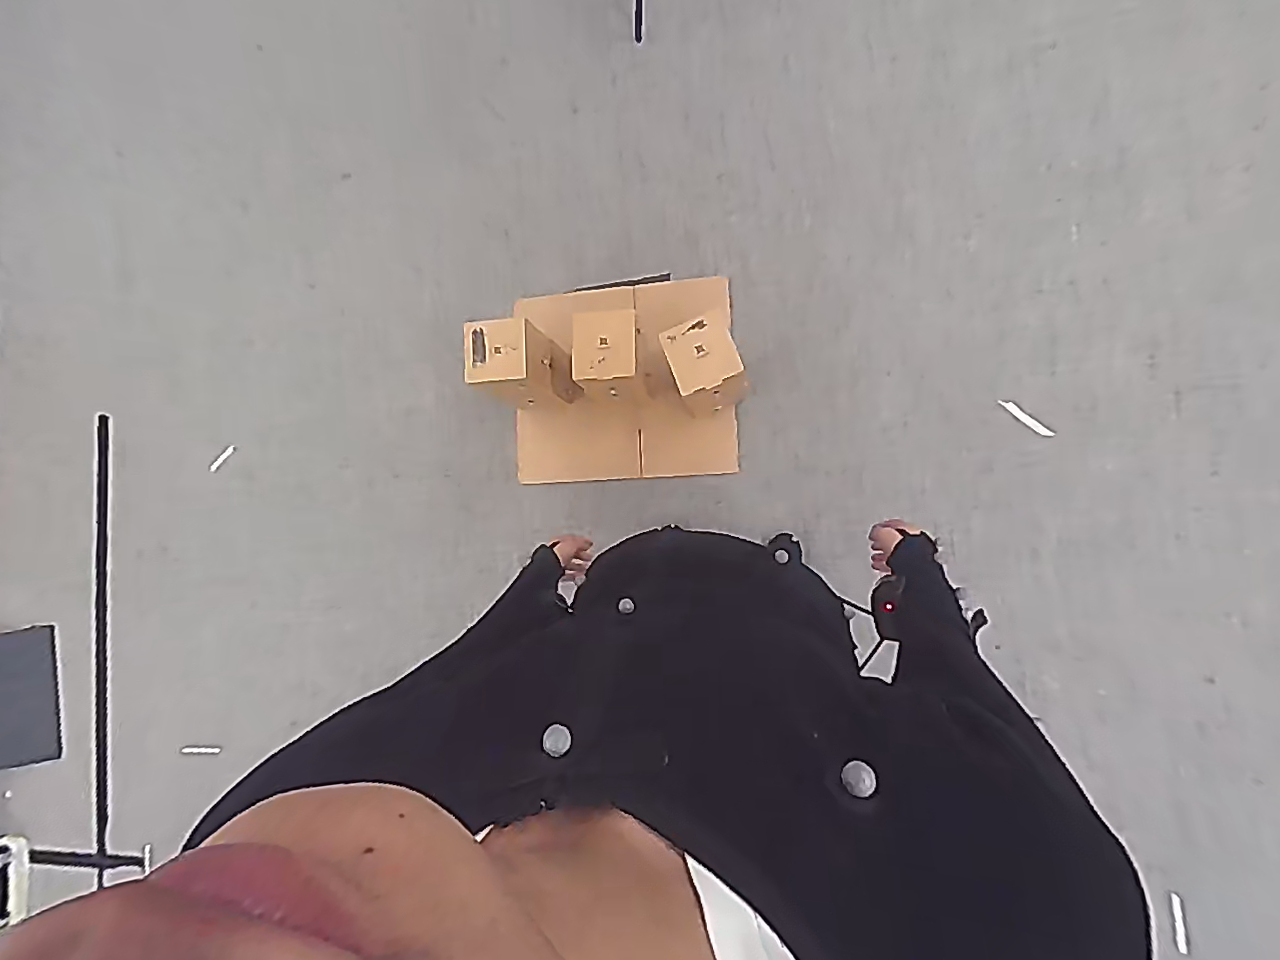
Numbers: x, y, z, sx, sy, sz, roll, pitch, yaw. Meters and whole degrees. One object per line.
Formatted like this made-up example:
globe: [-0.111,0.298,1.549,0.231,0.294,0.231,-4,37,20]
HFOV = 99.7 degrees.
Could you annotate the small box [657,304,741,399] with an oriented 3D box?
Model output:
small box: [0.159,-0.320,1.403,0.168,0.176,0.179,-21,84,9]

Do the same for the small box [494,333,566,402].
small box: [-0.328,-0.337,1.649,0.179,0.176,0.168,-3,86,11]

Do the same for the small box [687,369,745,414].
small box: [0.193,-0.312,1.562,0.168,0.176,0.179,-23,83,8]

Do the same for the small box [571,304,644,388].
small box: [-0.083,-0.353,1.443,0.168,0.176,0.179,-1,87,9]

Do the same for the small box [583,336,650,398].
small box: [-0.065,-0.341,1.607,0.179,0.176,0.168,-2,87,10]
